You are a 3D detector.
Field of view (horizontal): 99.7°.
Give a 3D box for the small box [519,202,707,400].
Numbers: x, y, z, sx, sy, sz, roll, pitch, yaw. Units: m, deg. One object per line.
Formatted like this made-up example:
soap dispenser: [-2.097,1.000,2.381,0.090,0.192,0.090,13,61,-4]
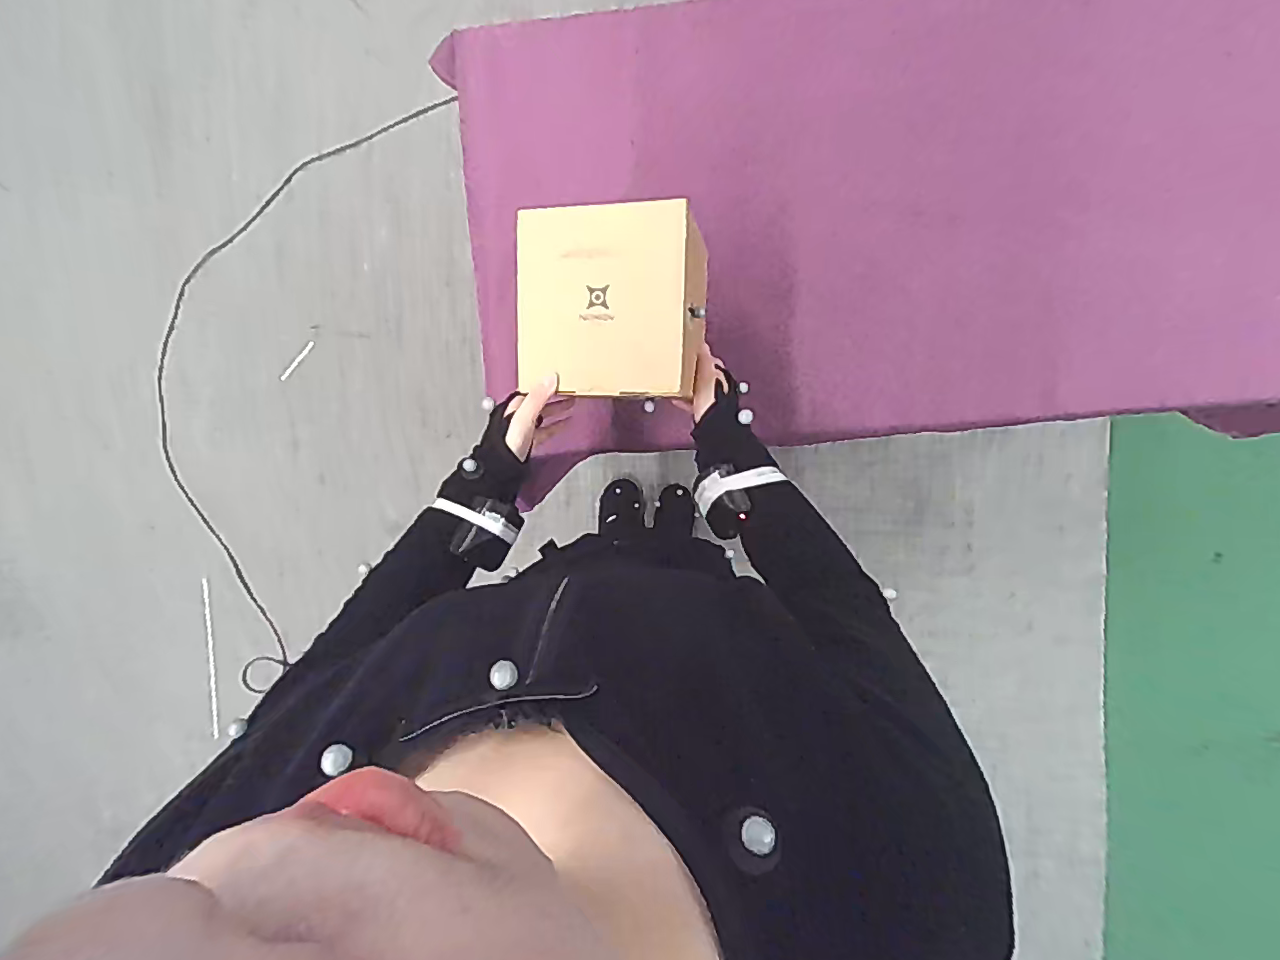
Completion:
small box: [-0.019,-0.178,0.587,0.168,0.176,0.179,4,98,12]
